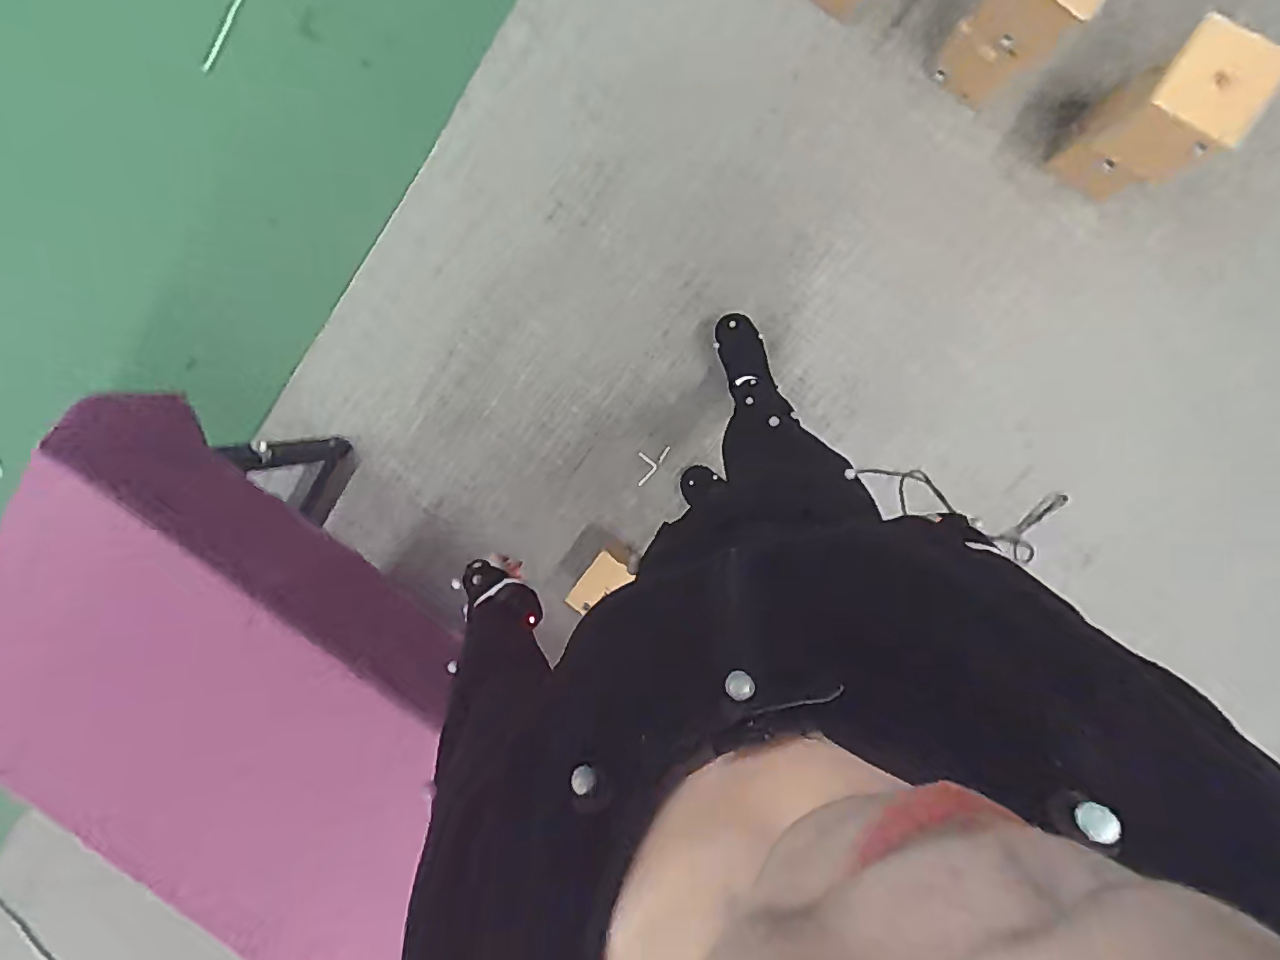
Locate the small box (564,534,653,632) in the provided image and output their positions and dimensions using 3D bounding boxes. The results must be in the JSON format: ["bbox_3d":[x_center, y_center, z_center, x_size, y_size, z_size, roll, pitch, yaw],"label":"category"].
[{"bbox_3d":[-0.078,0.272,1.472,0.168,0.176,0.179,38,99,0],"label":"small box"}]

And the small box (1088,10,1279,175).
[{"bbox_3d":[1.026,-0.722,1.032,0.179,0.176,0.168,30,101,1],"label":"small box"}]

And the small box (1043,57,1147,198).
[{"bbox_3d":[1.052,-0.759,1.189,0.179,0.176,0.168,35,101,1],"label":"small box"}]

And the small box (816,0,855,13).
[{"bbox_3d":[0.455,-1.200,1.197,0.179,0.176,0.168,36,100,0],"label":"small box"}]

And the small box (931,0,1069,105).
[{"bbox_3d":[0.778,-0.983,1.189,0.168,0.176,0.179,37,100,0],"label":"small box"}]
